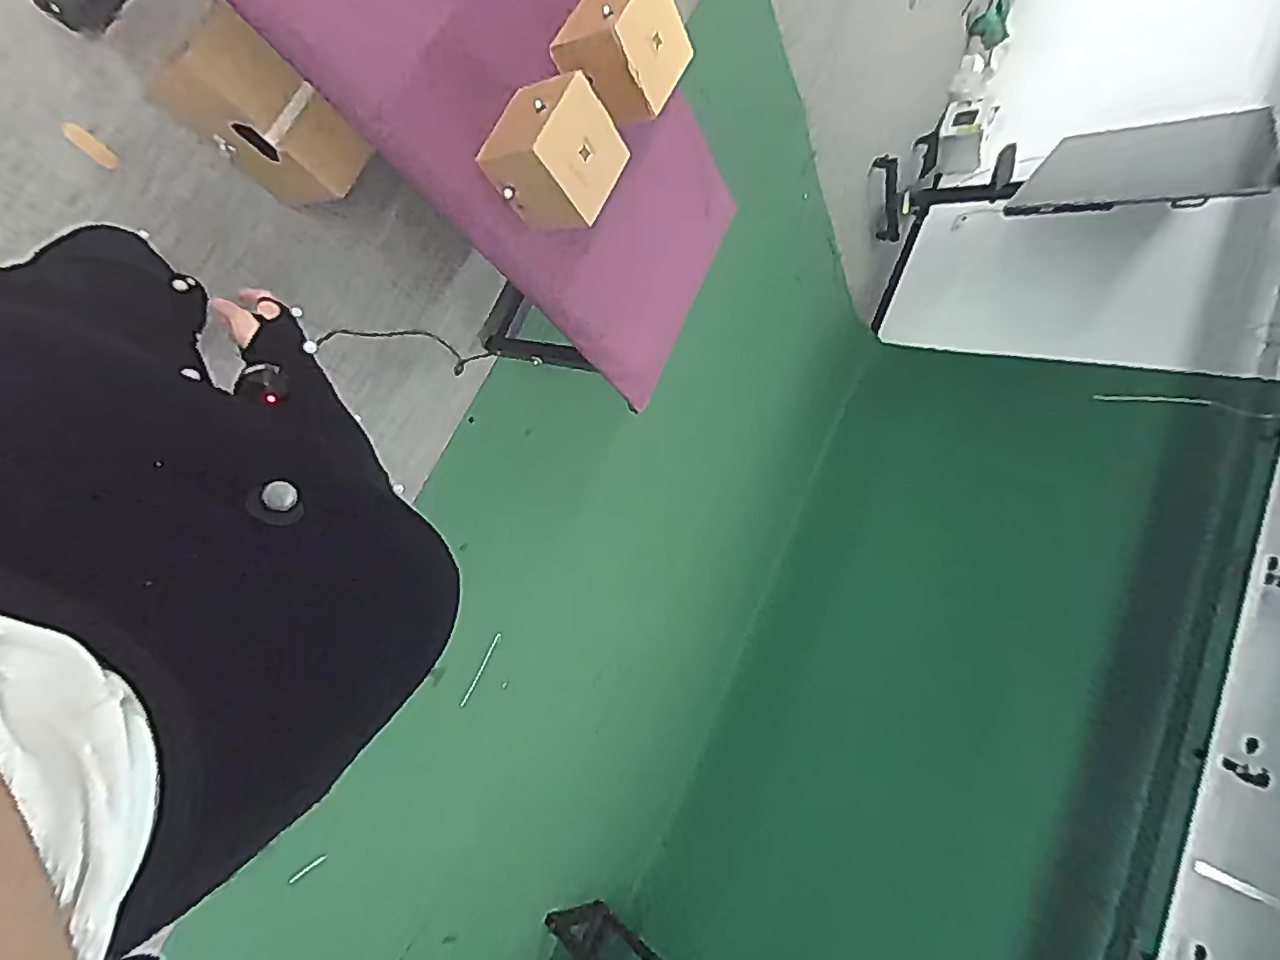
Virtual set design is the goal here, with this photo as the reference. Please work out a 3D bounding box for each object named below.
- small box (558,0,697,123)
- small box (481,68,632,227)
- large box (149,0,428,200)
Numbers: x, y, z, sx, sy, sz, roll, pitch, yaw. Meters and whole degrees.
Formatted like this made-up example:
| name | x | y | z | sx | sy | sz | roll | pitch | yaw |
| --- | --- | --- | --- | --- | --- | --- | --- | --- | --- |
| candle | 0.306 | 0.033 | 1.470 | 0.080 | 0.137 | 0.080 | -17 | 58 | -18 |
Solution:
| name | x | y | z | sx | sy | sz | roll | pitch | yaw |
| --- | --- | --- | --- | --- | --- | --- | --- | --- | --- |
| small box | -0.024 | -0.817 | 1.024 | 0.179 | 0.176 | 0.168 | -62 | 143 | -11 |
| small box | -0.150 | -0.580 | 0.964 | 0.168 | 0.176 | 0.179 | 41 | 72 | -50 |
| large box | -0.752 | -0.892 | 1.173 | 0.320 | 0.320 | 0.408 | 39 | 73 | -52 |
